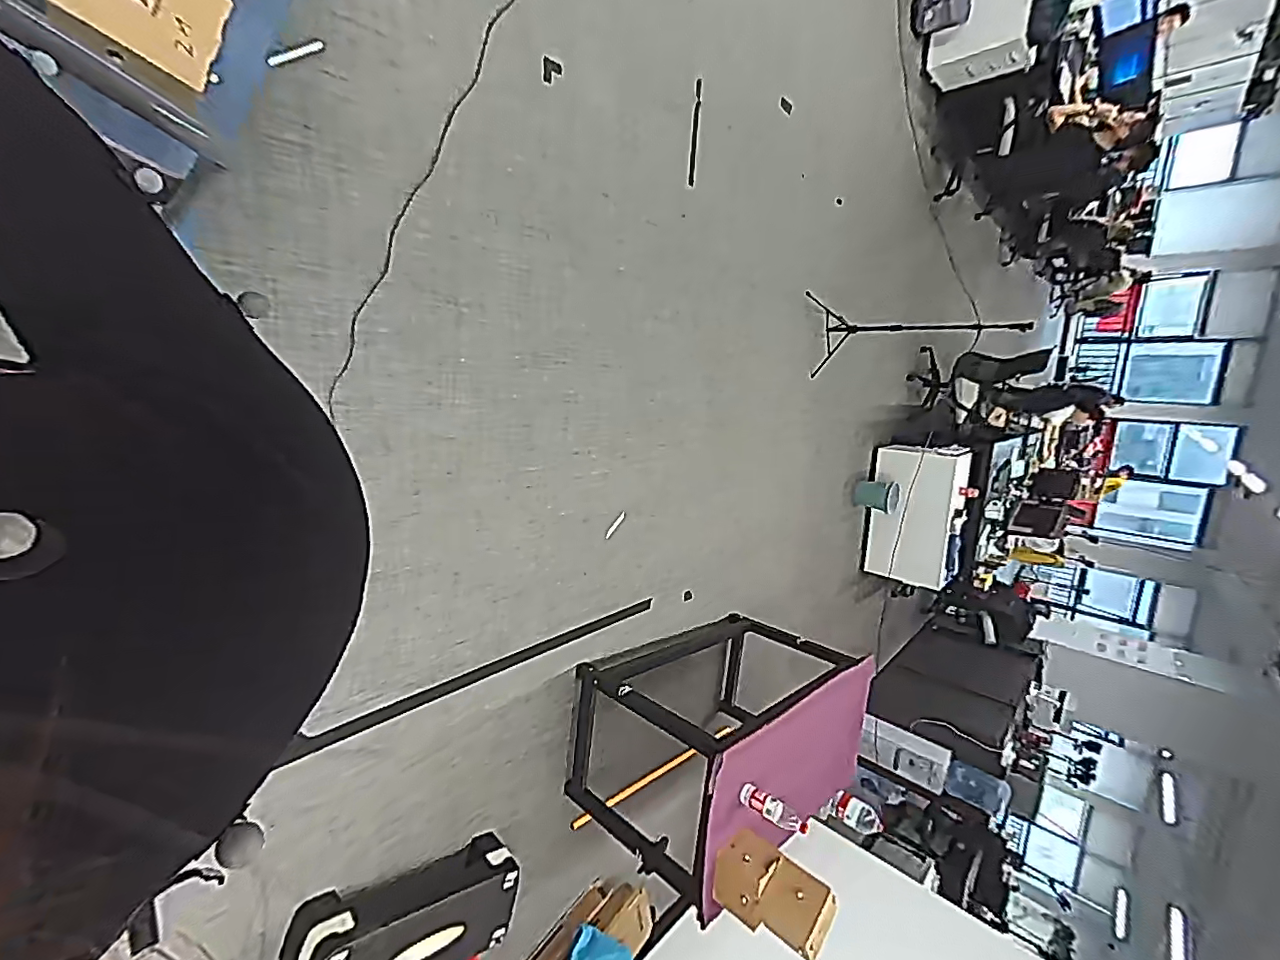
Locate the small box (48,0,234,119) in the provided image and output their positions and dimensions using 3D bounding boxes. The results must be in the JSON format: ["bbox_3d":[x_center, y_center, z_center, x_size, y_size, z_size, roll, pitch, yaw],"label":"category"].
[{"bbox_3d":[-0.789,-0.720,0.859,0.179,0.176,0.168,20,84,-47],"label":"small box"}]
